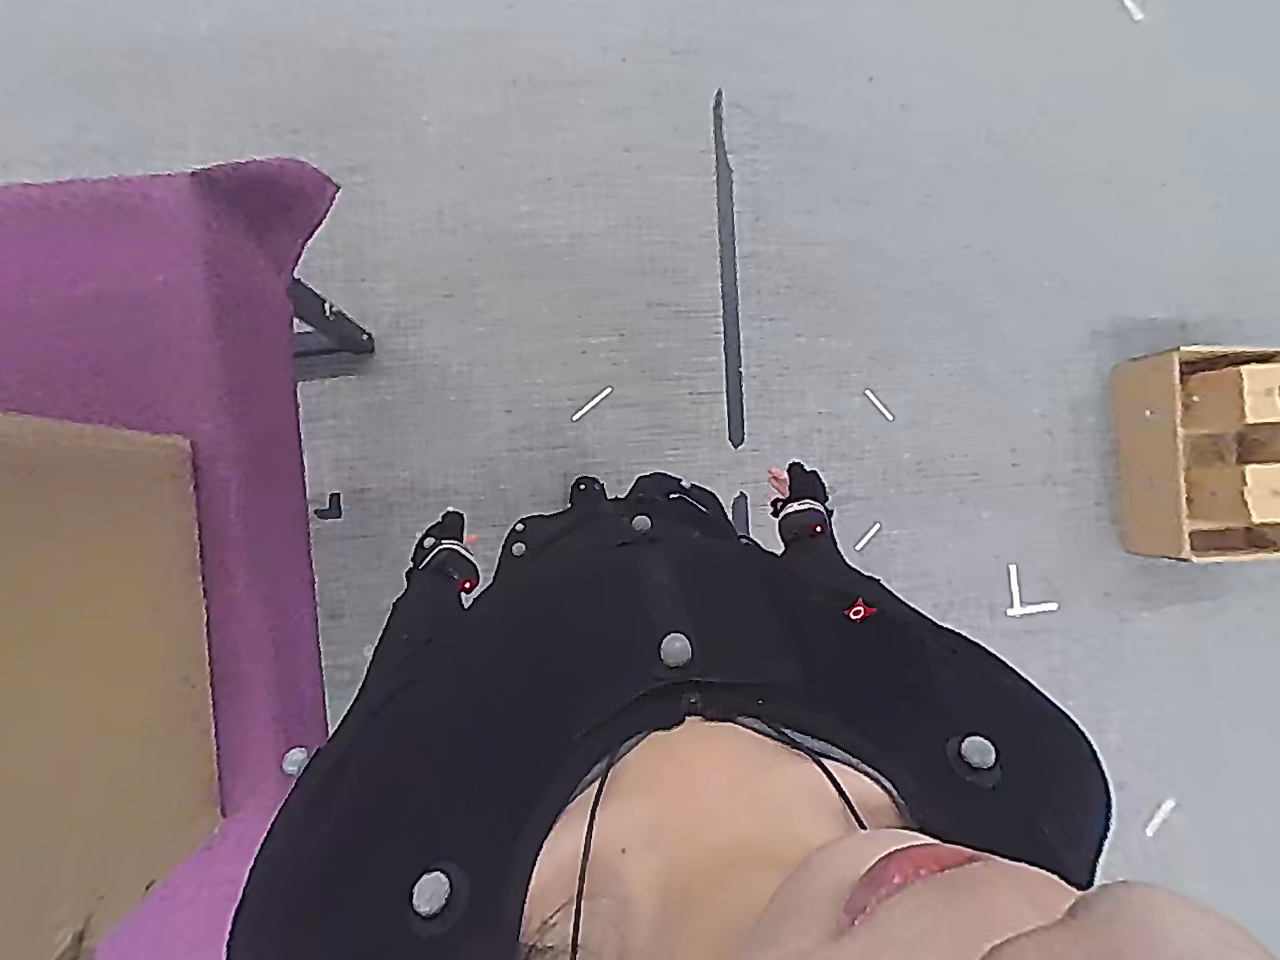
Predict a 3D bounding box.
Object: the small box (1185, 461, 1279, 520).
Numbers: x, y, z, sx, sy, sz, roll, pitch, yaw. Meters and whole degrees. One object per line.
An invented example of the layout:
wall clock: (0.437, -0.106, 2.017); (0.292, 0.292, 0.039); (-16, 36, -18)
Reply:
small box: (1.788, 0.035, 1.614); (0.179, 0.176, 0.168); (-1, 86, -5)
